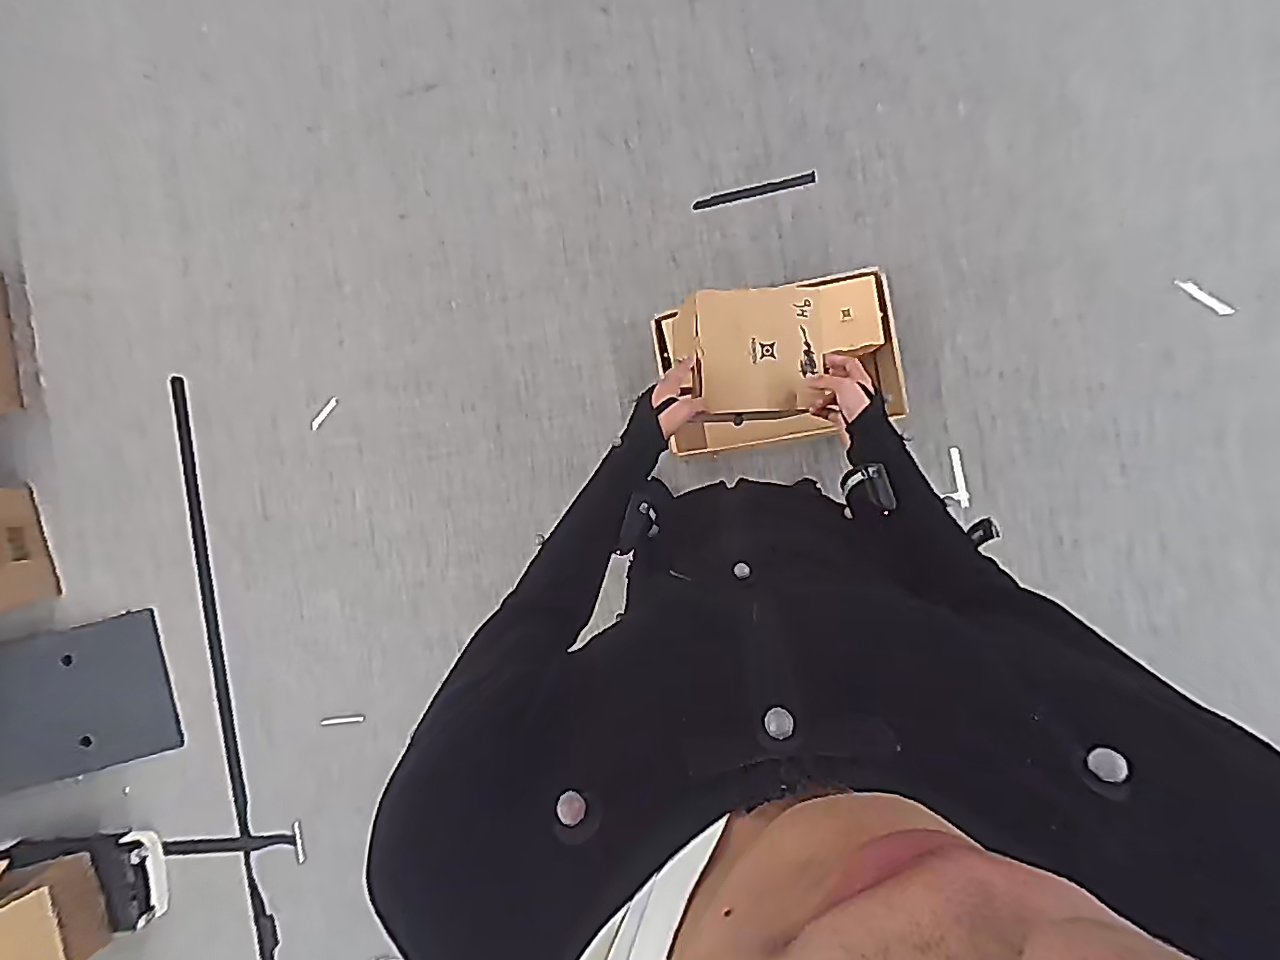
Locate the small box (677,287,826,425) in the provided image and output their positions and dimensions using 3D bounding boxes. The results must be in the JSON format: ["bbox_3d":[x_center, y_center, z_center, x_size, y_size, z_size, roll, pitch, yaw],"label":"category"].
[{"bbox_3d":[0.151,-0.171,0.792,0.179,0.176,0.168,-4,92,-6],"label":"small box"}]
